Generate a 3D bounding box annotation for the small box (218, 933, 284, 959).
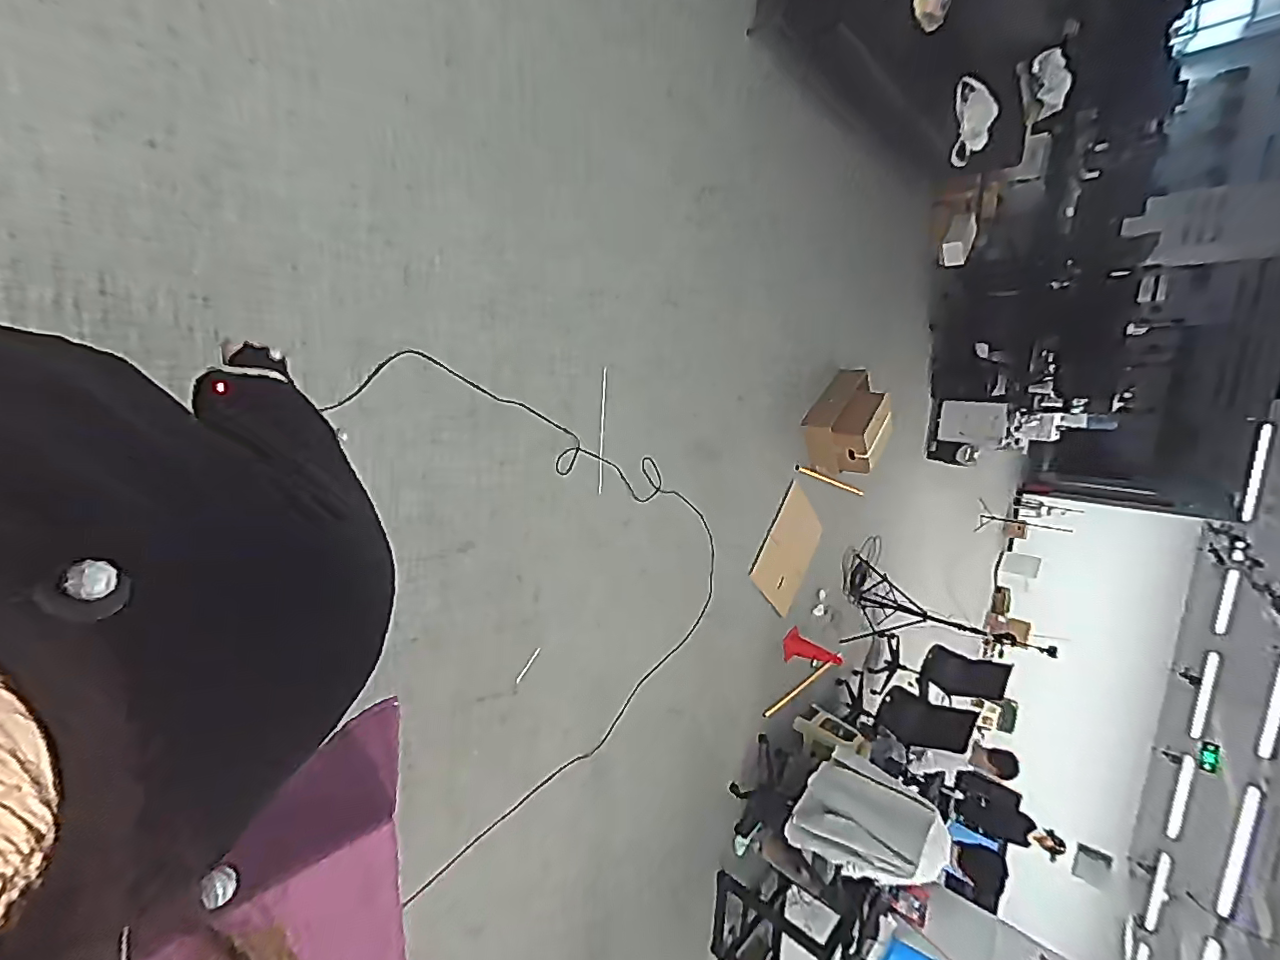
[{"bbox_3d":[-0.530,0.734,0.671,0.179,0.176,0.168,-8,105,-46],"label":"small box"}]
